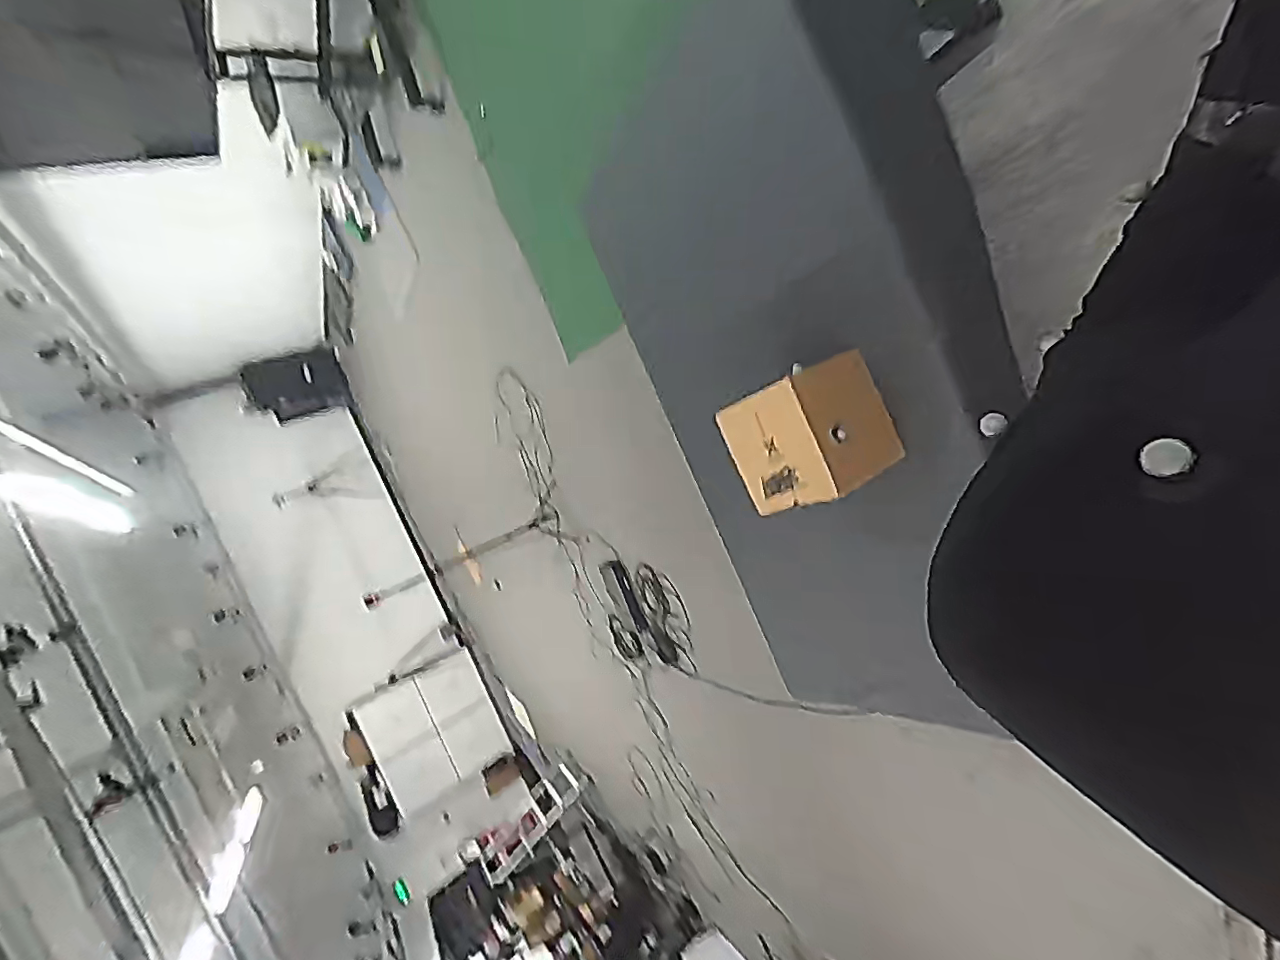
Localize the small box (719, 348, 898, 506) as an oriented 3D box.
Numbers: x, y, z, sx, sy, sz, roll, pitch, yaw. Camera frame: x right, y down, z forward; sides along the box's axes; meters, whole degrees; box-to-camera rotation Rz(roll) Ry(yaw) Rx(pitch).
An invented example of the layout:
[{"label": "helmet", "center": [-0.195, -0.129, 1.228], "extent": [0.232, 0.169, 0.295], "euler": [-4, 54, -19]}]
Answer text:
[{"label": "small box", "center": [0.262, -0.081, 0.839], "extent": [0.168, 0.176, 0.179], "euler": [-23, 91, 60]}]
